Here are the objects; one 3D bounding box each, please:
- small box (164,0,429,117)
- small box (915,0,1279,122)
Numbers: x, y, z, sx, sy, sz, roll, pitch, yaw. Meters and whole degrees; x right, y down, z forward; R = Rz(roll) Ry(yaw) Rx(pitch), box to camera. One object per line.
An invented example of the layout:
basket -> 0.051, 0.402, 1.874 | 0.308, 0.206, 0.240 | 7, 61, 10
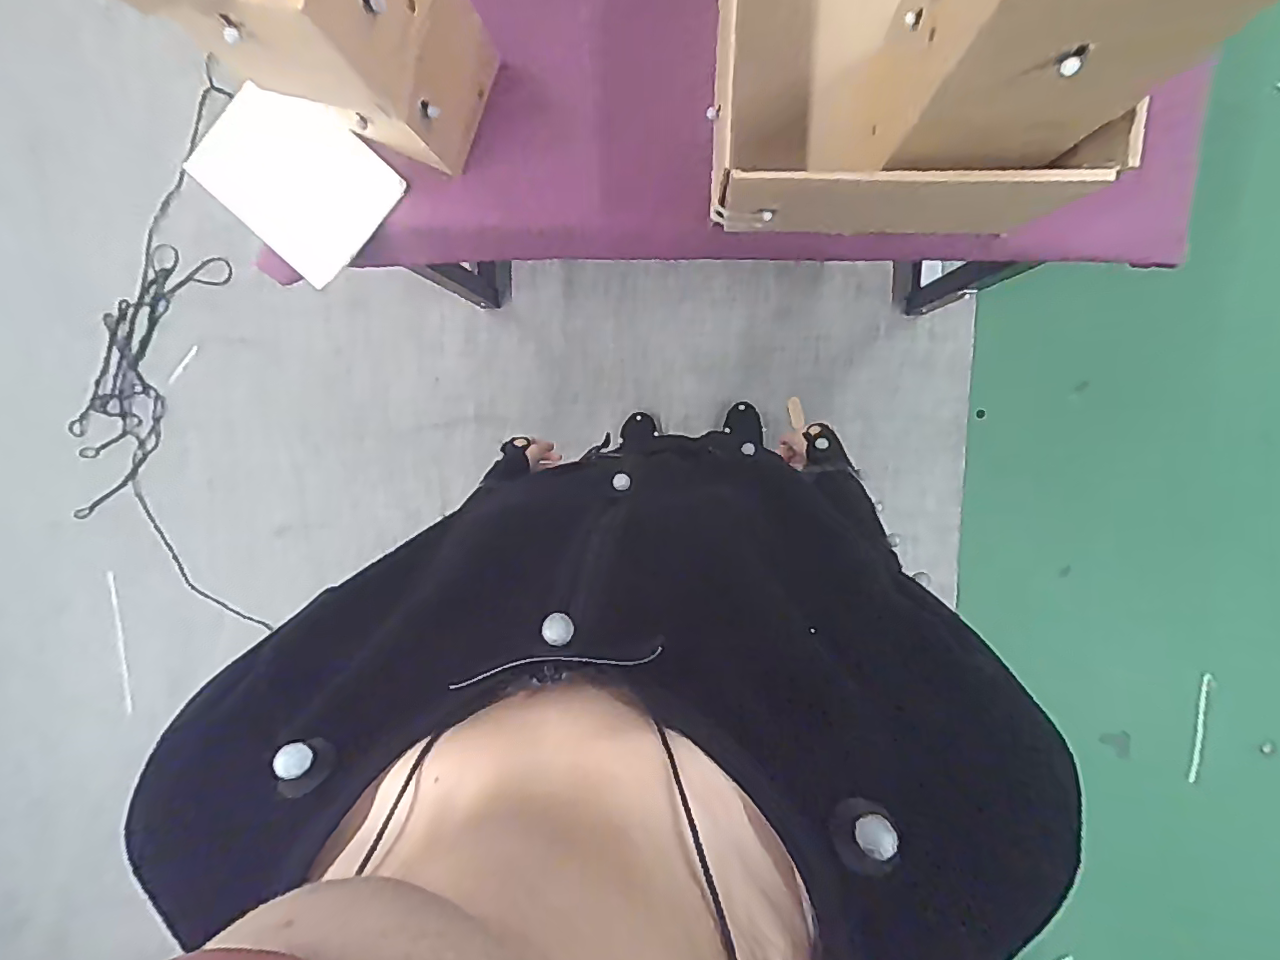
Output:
small box -> -0.318, -0.477, 0.503 | 0.179, 0.176, 0.168 | 15, 97, 3
small box -> 0.337, -0.399, 0.406 | 0.179, 0.176, 0.168 | 4, 97, 7
